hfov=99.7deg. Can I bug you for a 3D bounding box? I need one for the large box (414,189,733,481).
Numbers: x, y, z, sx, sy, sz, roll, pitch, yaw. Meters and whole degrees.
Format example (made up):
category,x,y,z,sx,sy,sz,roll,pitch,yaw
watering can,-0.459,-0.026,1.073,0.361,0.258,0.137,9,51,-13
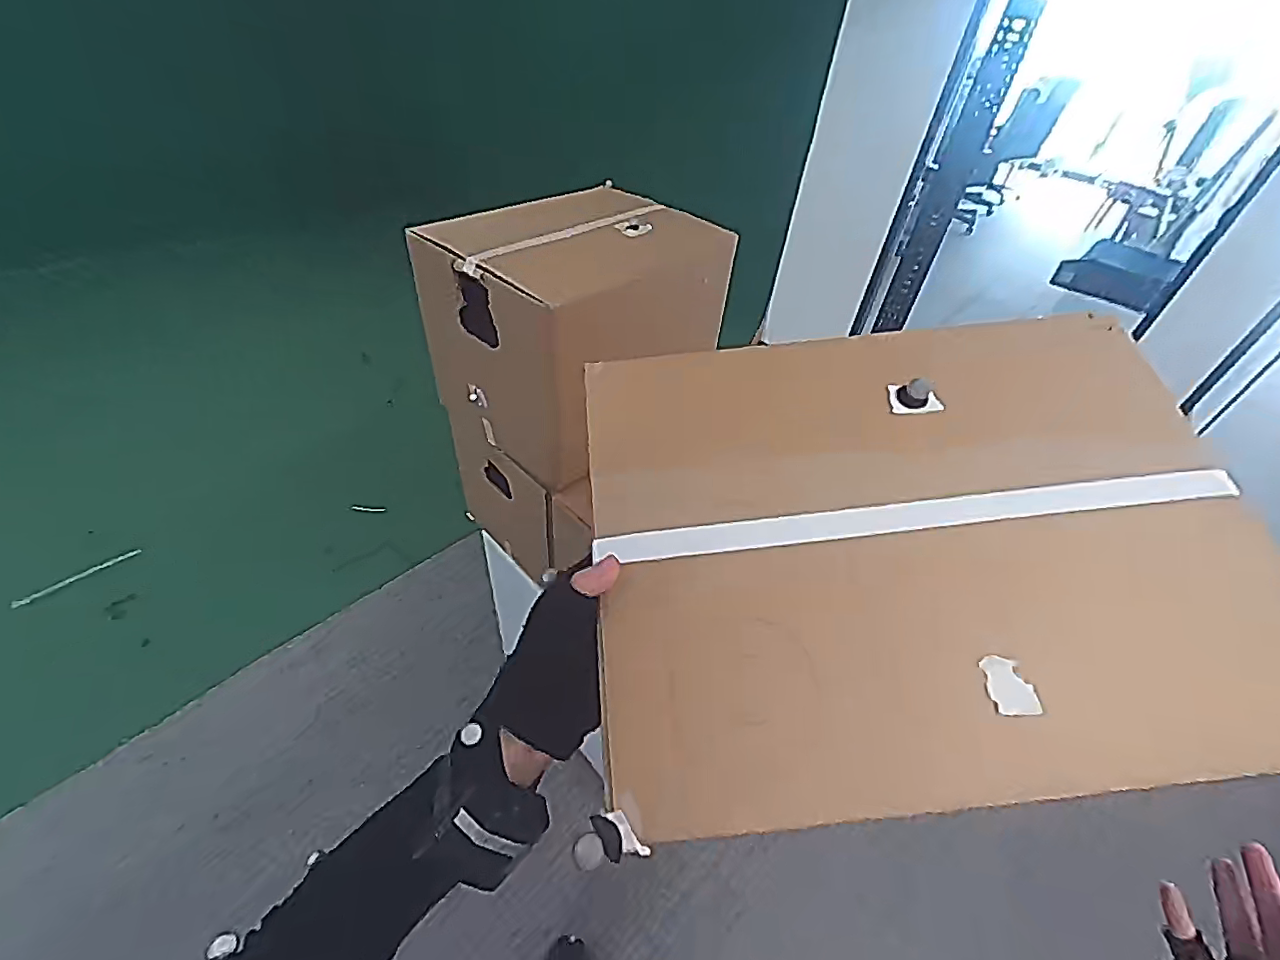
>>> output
category,x,y,z,sx,sy,sz,roll,pitch,yaw
large box,-0.100,-0.266,0.925,0.320,0.320,0.408,34,49,26
